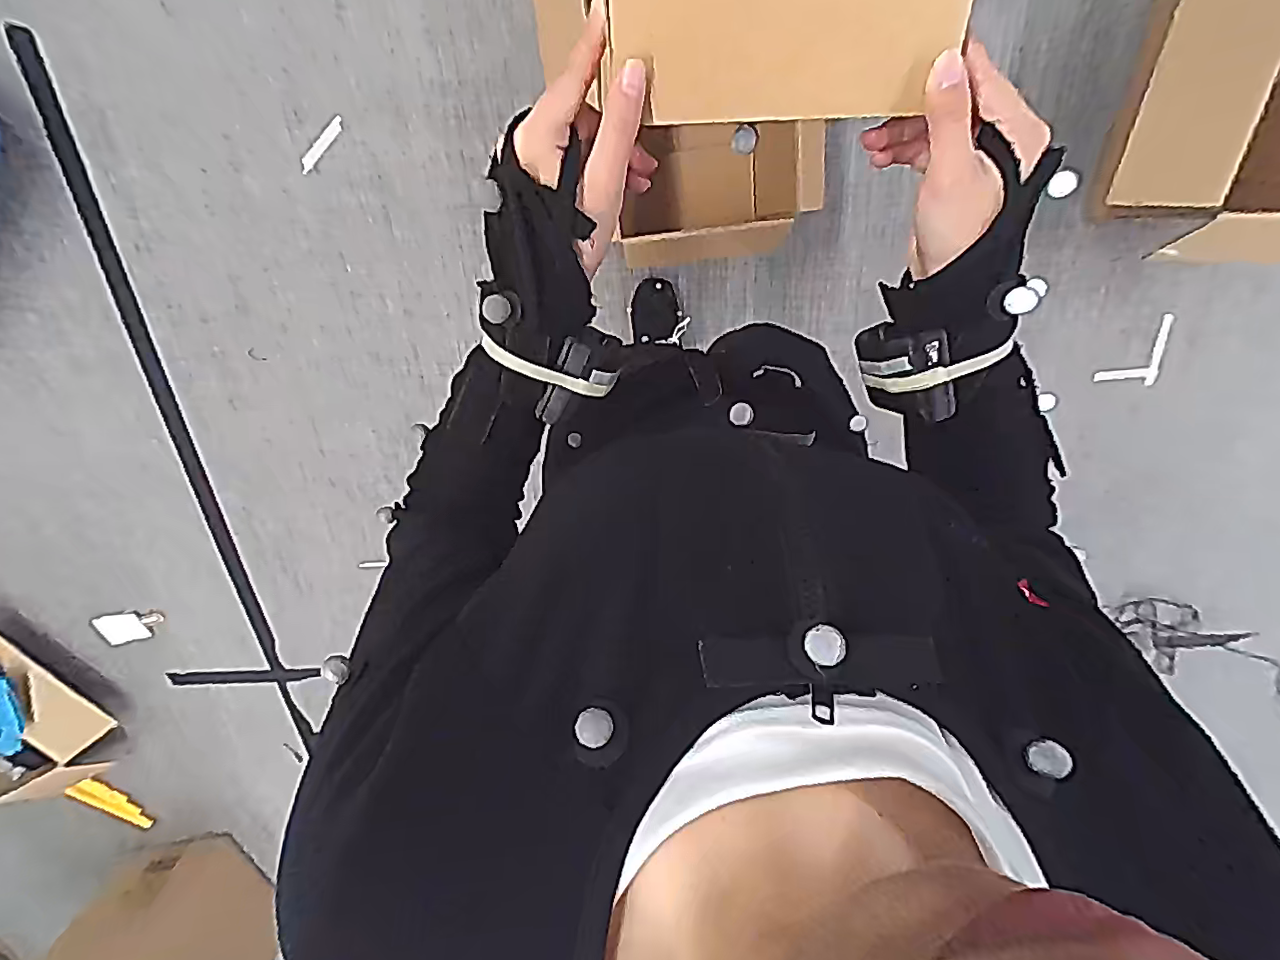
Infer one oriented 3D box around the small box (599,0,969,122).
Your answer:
[{"bbox_3d":[0.064,-0.300,0.295,0.179,0.176,0.168,-3,125,-1],"label":"small box"}]
